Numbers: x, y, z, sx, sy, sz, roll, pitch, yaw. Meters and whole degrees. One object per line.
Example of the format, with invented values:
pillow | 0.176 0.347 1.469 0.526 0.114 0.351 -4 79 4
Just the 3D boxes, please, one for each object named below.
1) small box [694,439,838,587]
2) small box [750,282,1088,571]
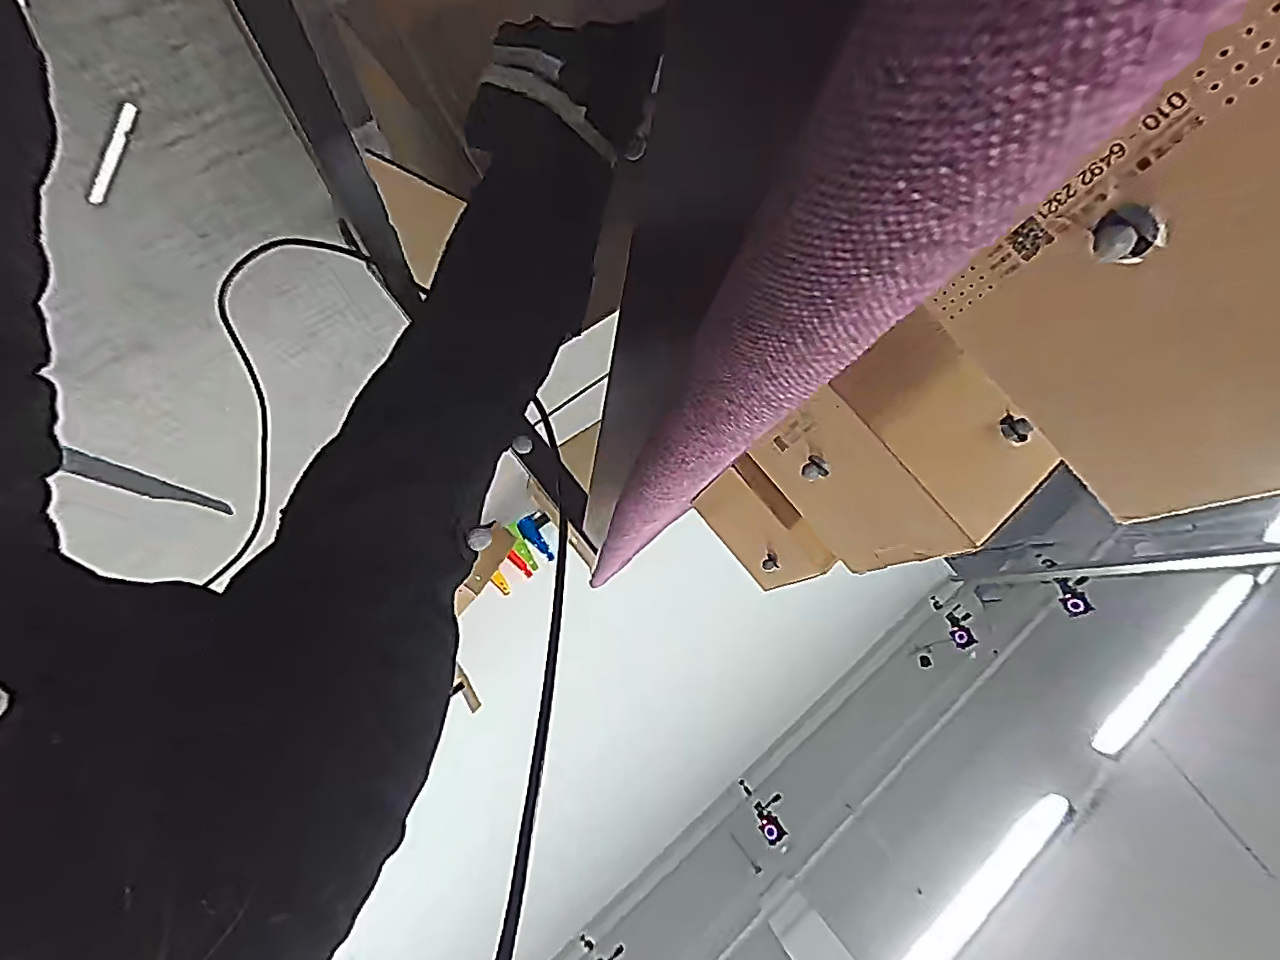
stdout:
small box | 0.196 0.020 0.725 0.168 0.176 0.179 -38 173 -20
small box | 0.237 -0.044 0.496 0.179 0.176 0.168 -37 173 -18
